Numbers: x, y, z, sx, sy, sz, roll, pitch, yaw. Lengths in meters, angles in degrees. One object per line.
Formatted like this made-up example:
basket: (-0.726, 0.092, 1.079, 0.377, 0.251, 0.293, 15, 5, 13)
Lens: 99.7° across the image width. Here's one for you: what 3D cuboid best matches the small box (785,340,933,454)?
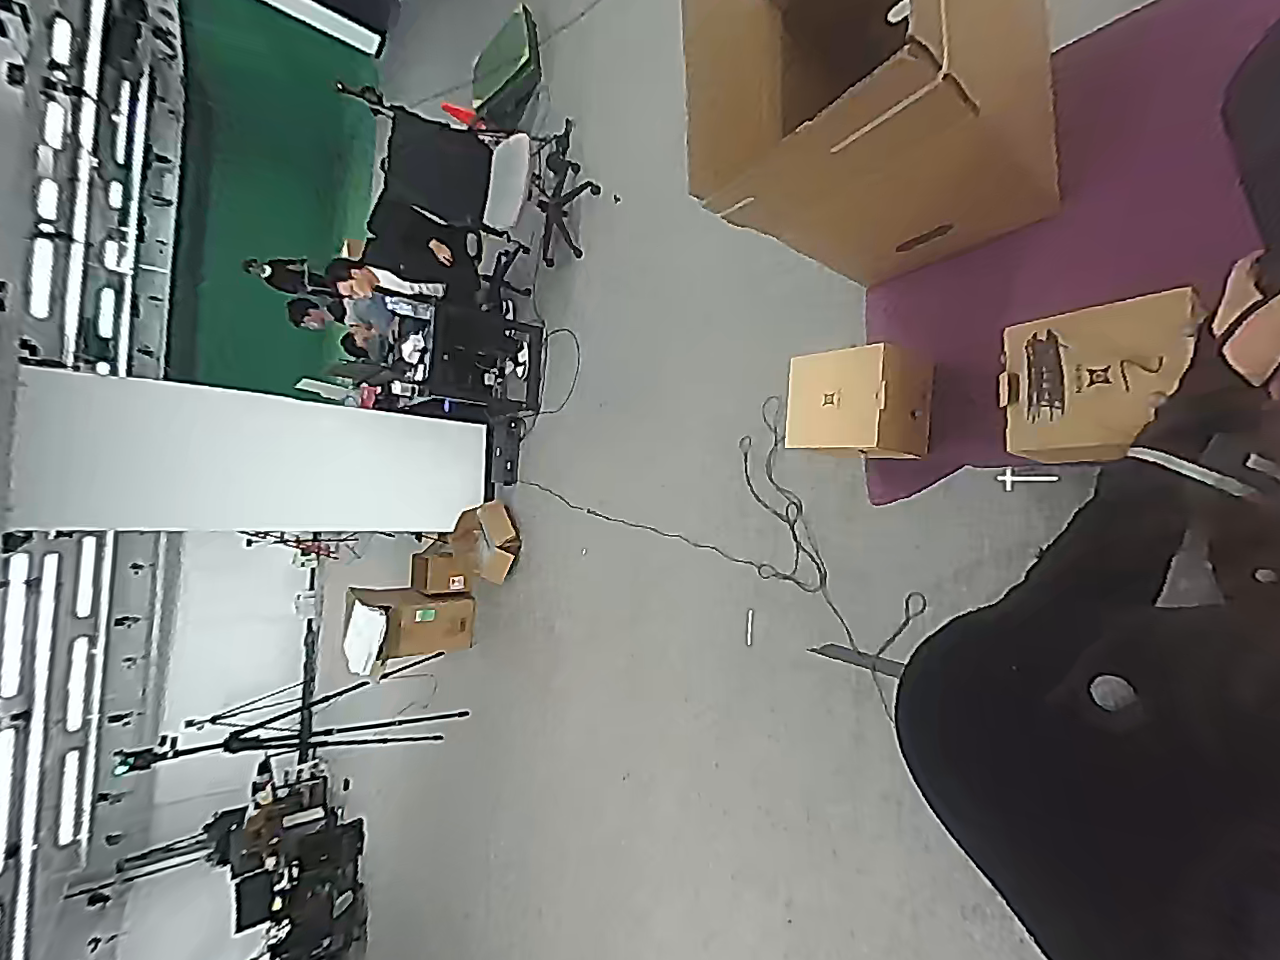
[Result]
small box: (0.382, -0.134, 0.948, 0.179, 0.176, 0.168, 3, 89, 51)
